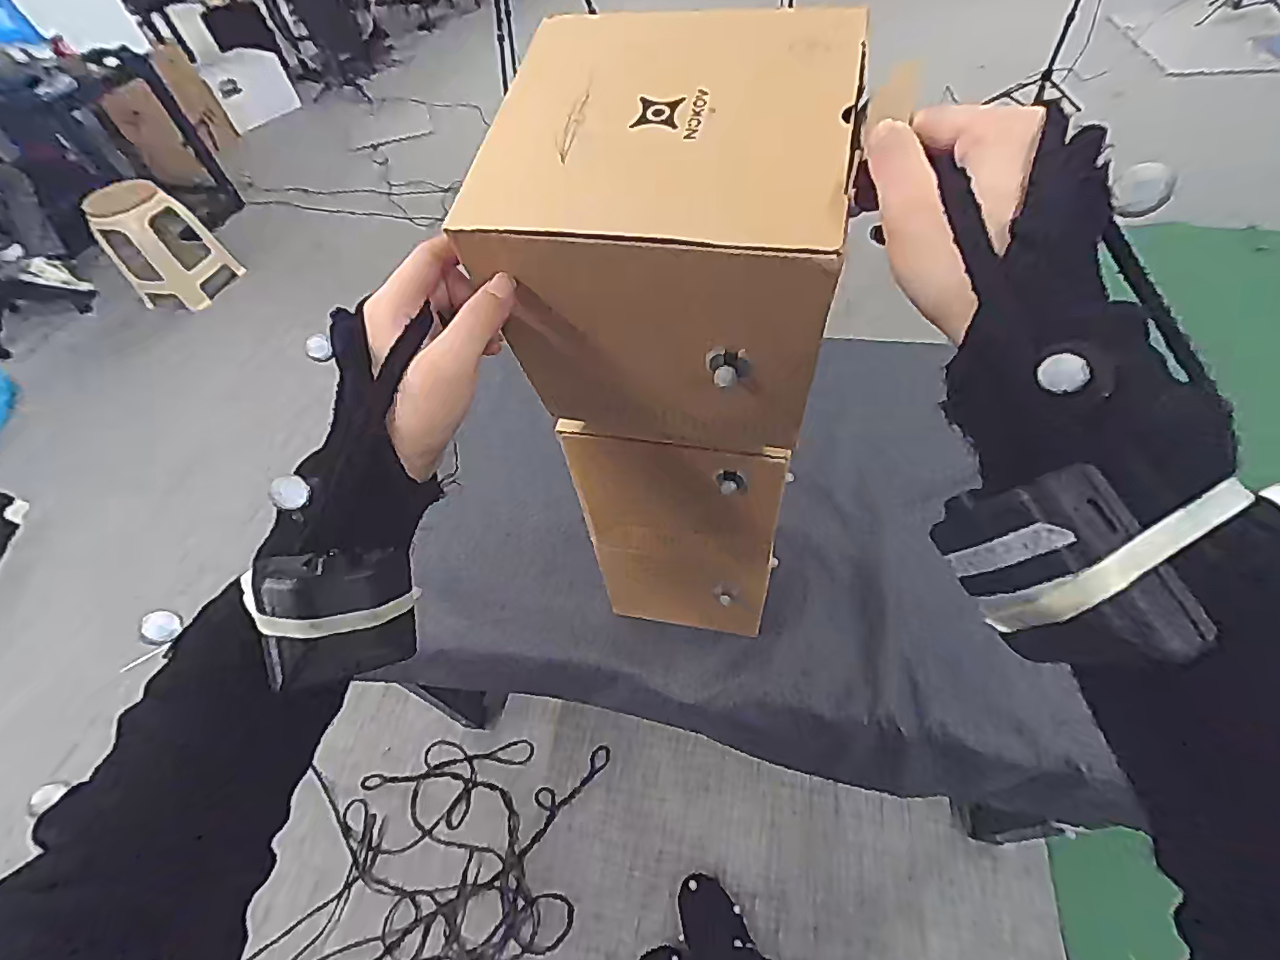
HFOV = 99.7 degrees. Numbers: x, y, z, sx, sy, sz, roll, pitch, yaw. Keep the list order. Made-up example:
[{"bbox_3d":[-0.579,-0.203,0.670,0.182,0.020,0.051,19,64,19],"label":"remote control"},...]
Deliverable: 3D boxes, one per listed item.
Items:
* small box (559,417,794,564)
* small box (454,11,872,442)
[{"bbox_3d":[0.046,-0.039,0.500,0.179,0.176,0.168,7,54,11],"label":"small box"},{"bbox_3d":[0.027,-0.137,0.330,0.179,0.176,0.168,8,66,13],"label":"small box"}]
